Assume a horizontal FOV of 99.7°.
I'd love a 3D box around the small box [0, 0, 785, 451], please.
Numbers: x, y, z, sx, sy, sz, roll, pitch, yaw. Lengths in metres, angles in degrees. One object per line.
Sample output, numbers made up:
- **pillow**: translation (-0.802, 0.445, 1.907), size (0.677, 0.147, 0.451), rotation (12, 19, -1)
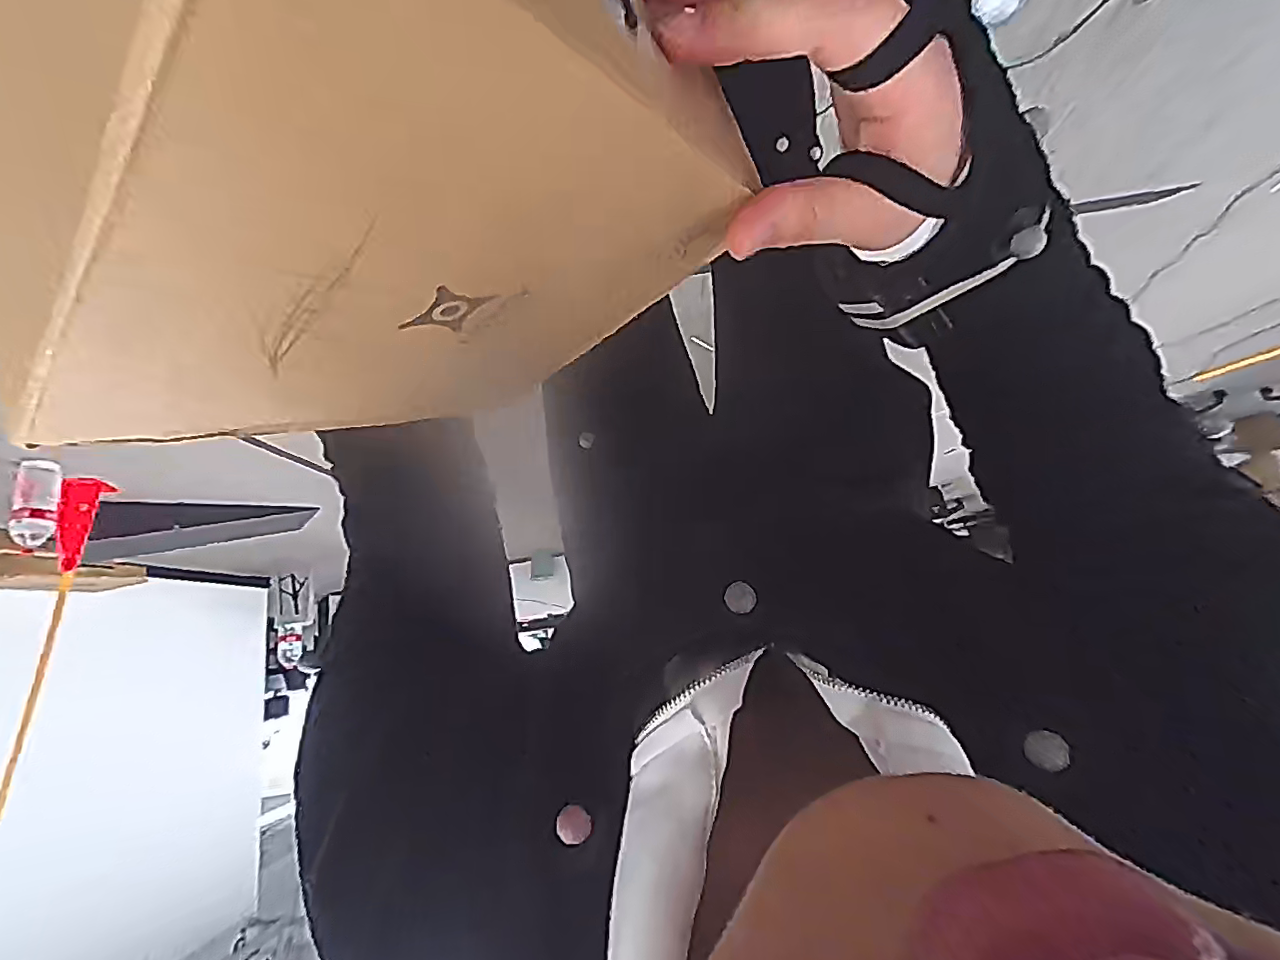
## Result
- **small box**: translation (-0.084, -0.125, 0.167), size (0.168, 0.176, 0.179), rotation (-26, 174, 33)
